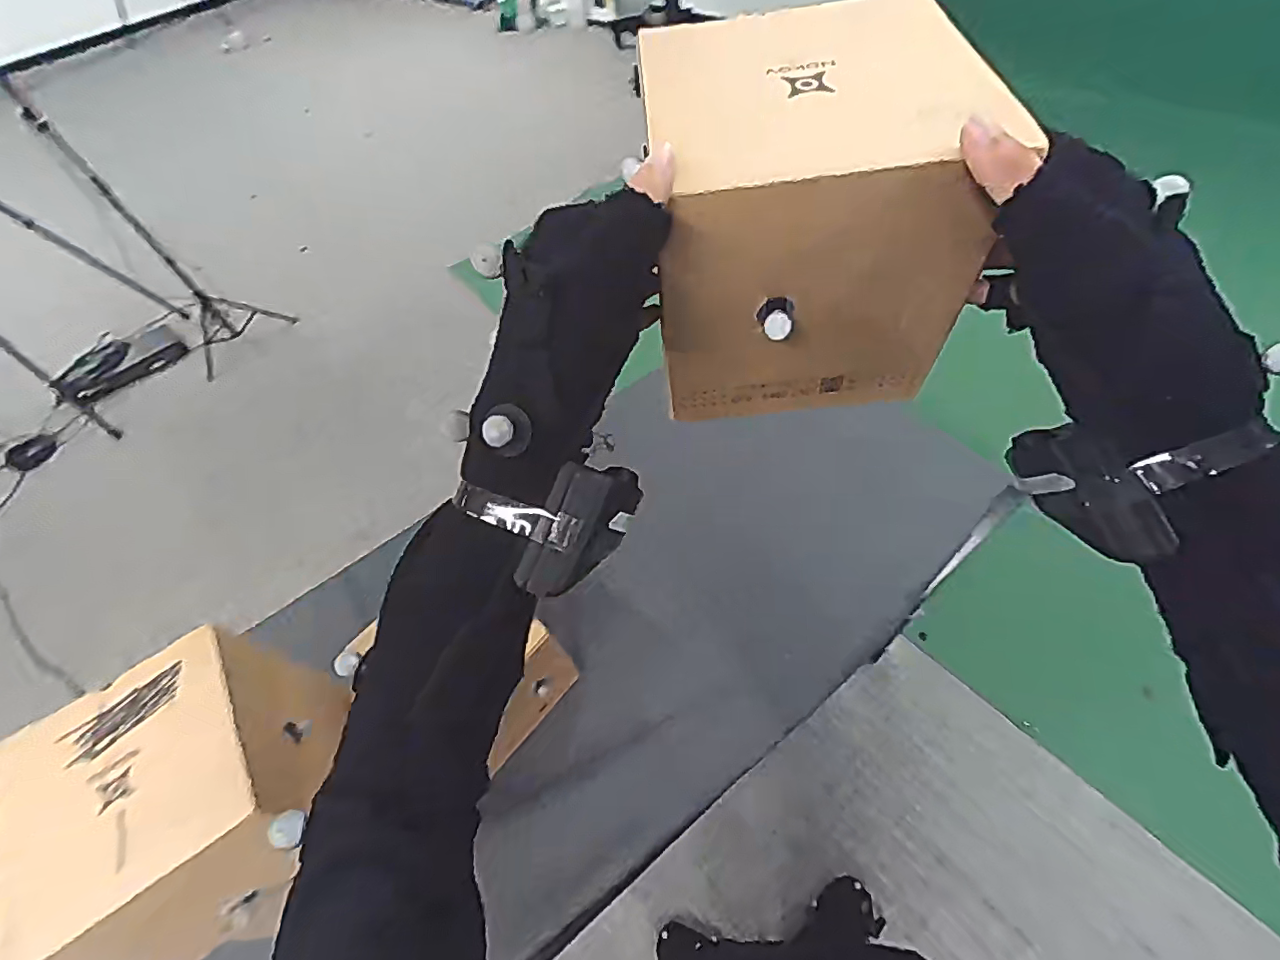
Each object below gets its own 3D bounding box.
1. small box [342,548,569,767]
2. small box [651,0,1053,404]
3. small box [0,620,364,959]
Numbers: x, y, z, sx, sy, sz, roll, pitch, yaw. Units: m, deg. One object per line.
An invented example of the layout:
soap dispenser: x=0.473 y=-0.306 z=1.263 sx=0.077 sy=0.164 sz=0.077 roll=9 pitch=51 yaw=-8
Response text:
small box: x=-0.211 y=0.222 z=0.663 sx=0.179 sy=0.176 sz=0.168 roll=33 pitch=63 yaw=27
small box: x=0.099 y=-0.162 z=0.341 sx=0.168 sy=0.176 sz=0.179 roll=-5 pitch=58 yaw=4
small box: x=-0.370 y=0.258 z=0.453 sx=0.168 sy=0.176 sz=0.179 roll=-33 pitch=58 yaw=-17
